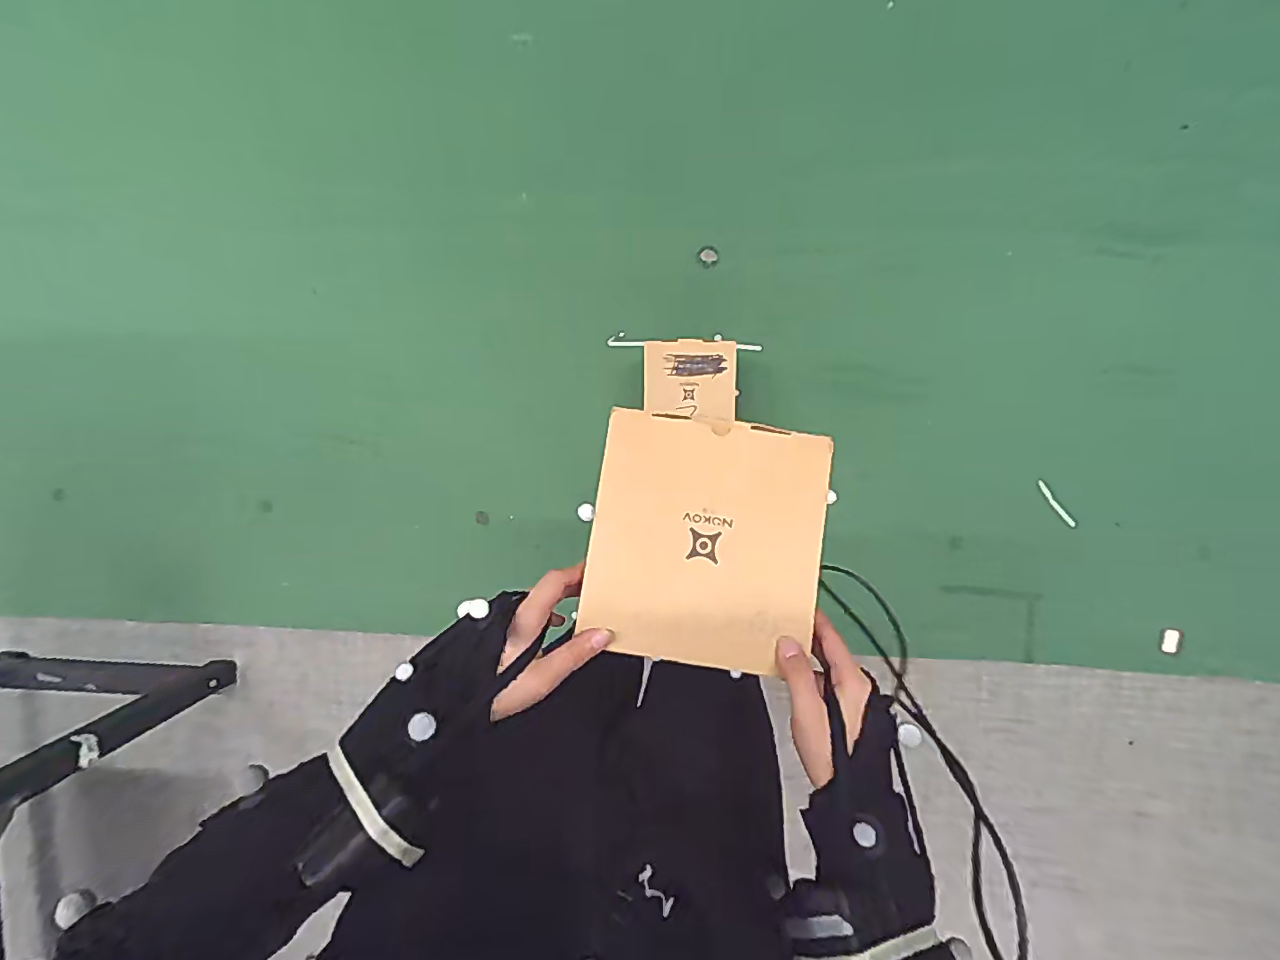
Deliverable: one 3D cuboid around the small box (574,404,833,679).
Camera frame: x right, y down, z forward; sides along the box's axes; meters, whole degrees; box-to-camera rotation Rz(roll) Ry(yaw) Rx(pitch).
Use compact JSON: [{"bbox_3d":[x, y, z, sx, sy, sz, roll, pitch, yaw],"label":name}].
[{"bbox_3d":[0.049,0.051,0.464,0.168,0.176,0.179,9,82,2],"label":"small box"}]
